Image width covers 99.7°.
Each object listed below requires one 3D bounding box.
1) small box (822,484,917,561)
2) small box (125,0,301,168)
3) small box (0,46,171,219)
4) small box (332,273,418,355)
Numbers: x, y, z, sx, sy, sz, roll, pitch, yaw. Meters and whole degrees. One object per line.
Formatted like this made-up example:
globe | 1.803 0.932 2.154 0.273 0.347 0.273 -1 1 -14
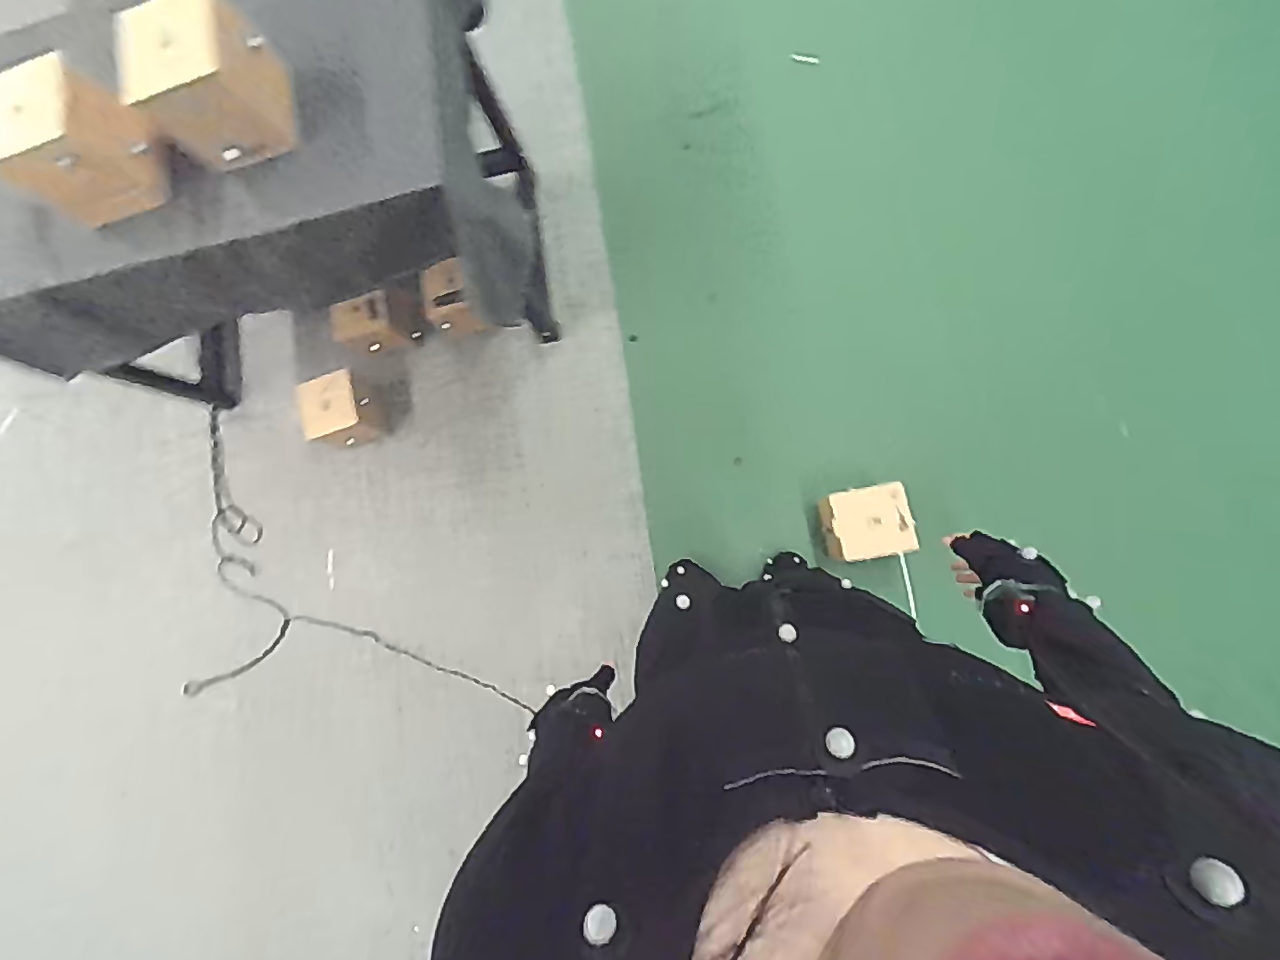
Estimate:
small box | 0.569 0.112 1.368 0.179 0.176 0.168 -10 81 8
small box | -0.713 -0.678 0.916 0.168 0.176 0.179 -12 81 8
small box | -0.981 -0.593 0.947 0.179 0.176 0.168 -14 81 6
small box | -0.796 -0.499 1.645 0.179 0.176 0.168 -11 81 8
